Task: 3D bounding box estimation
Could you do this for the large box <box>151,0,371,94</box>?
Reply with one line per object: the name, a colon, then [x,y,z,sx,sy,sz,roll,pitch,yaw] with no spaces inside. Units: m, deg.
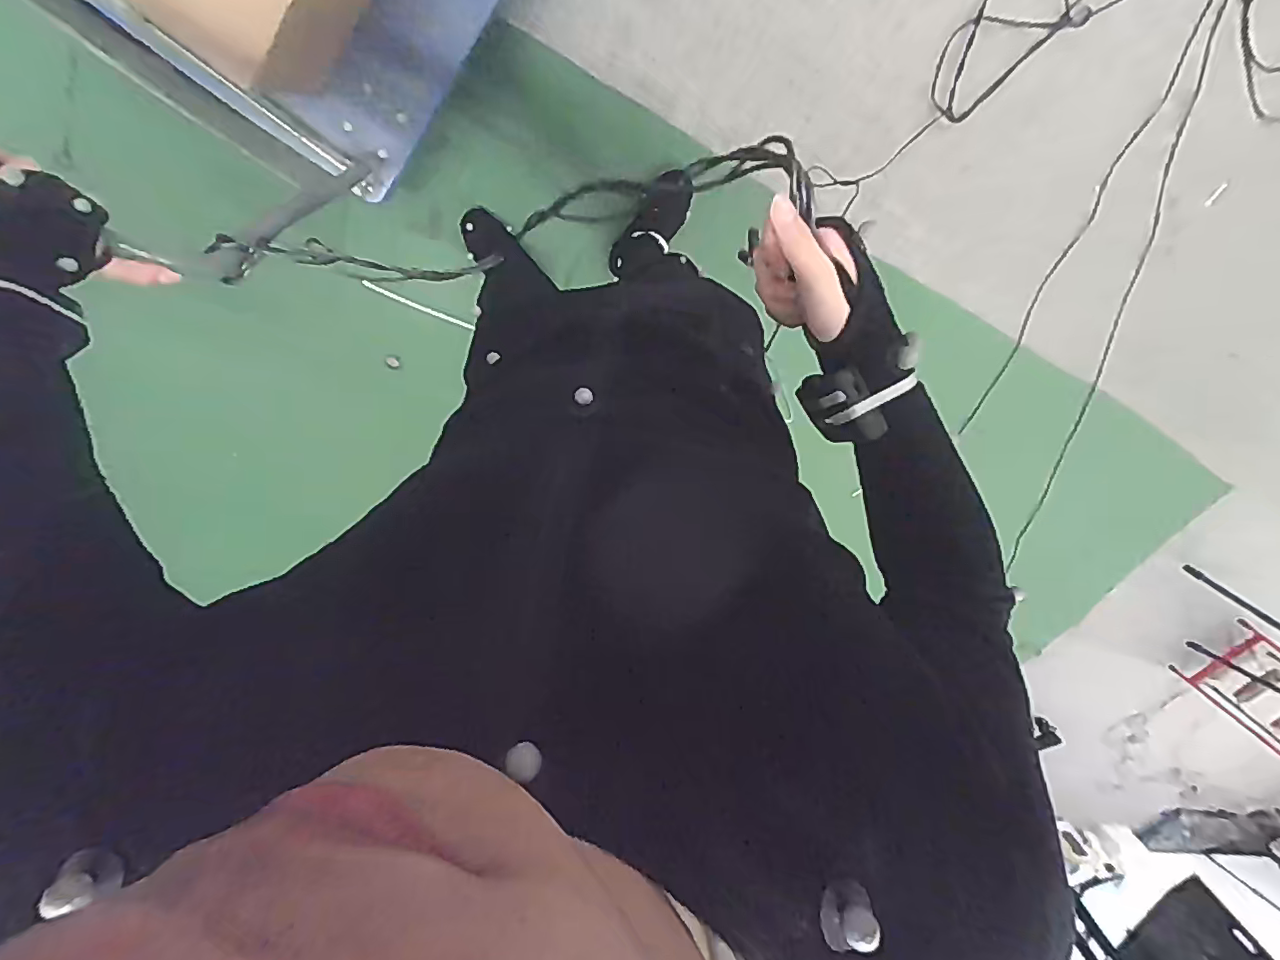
large box: [-0.555,-0.852,0.759,0.320,0.320,0.408,33,110,-29]
